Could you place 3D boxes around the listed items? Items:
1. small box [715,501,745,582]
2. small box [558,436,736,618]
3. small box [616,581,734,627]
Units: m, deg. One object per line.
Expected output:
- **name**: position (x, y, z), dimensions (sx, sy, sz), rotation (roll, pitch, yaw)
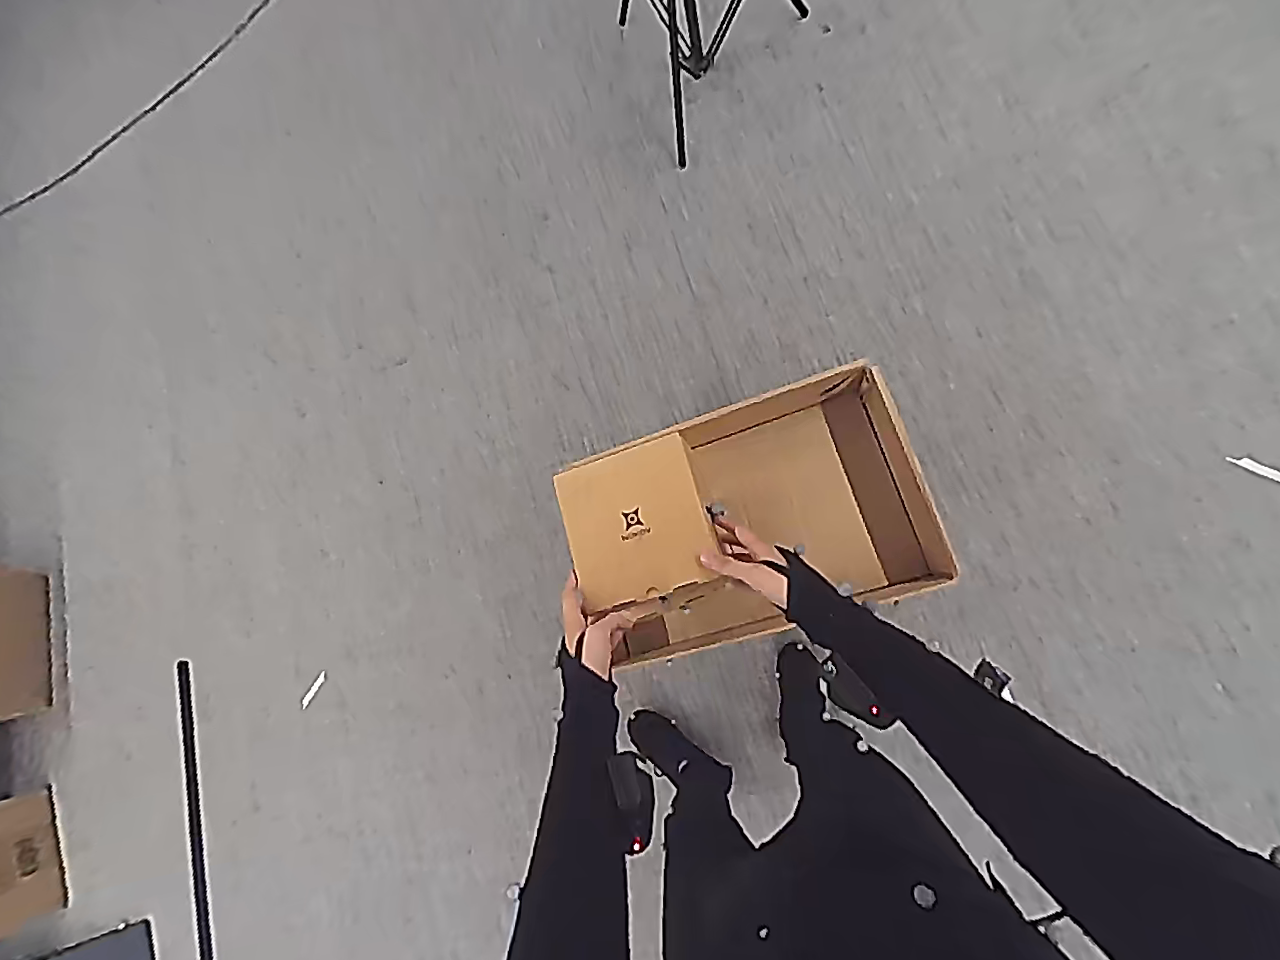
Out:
- **small box**: position (0.087, 0.134, 1.008), dimensions (0.179, 0.176, 0.168), rotation (-25, 75, 10)
- **small box**: position (0.017, 0.067, 0.696), dimensions (0.168, 0.176, 0.179), rotation (-20, 76, 10)
- **small box**: position (0.038, 0.117, 0.852), dimensions (0.168, 0.176, 0.179), rotation (-23, 76, 10)
